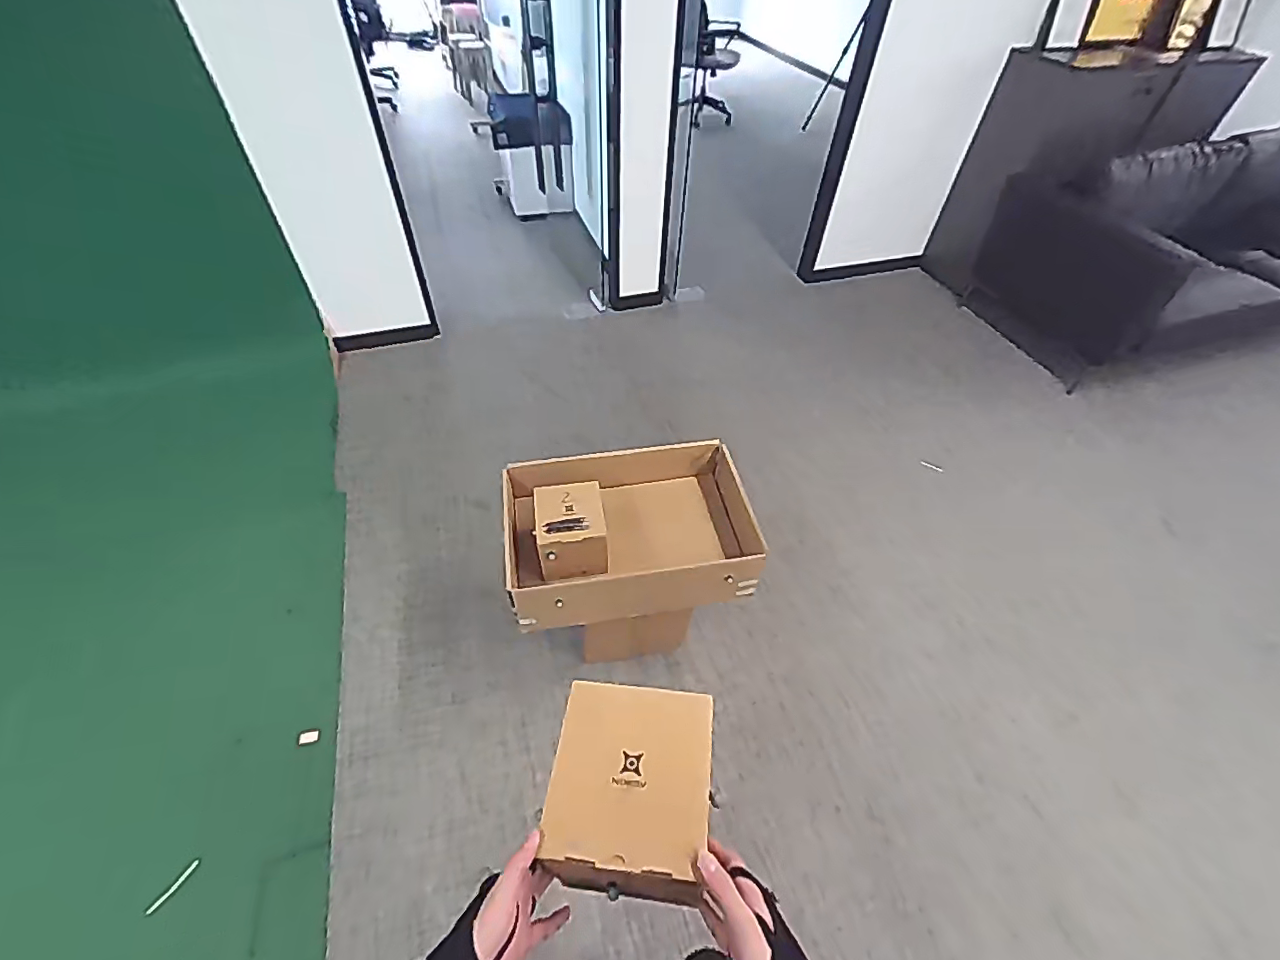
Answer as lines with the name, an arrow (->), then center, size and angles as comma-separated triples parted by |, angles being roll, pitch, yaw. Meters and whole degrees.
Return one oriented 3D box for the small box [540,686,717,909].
small box -> -0.003, 0.364, 0.621 | 0.168, 0.176, 0.179 | 4, 48, 7
